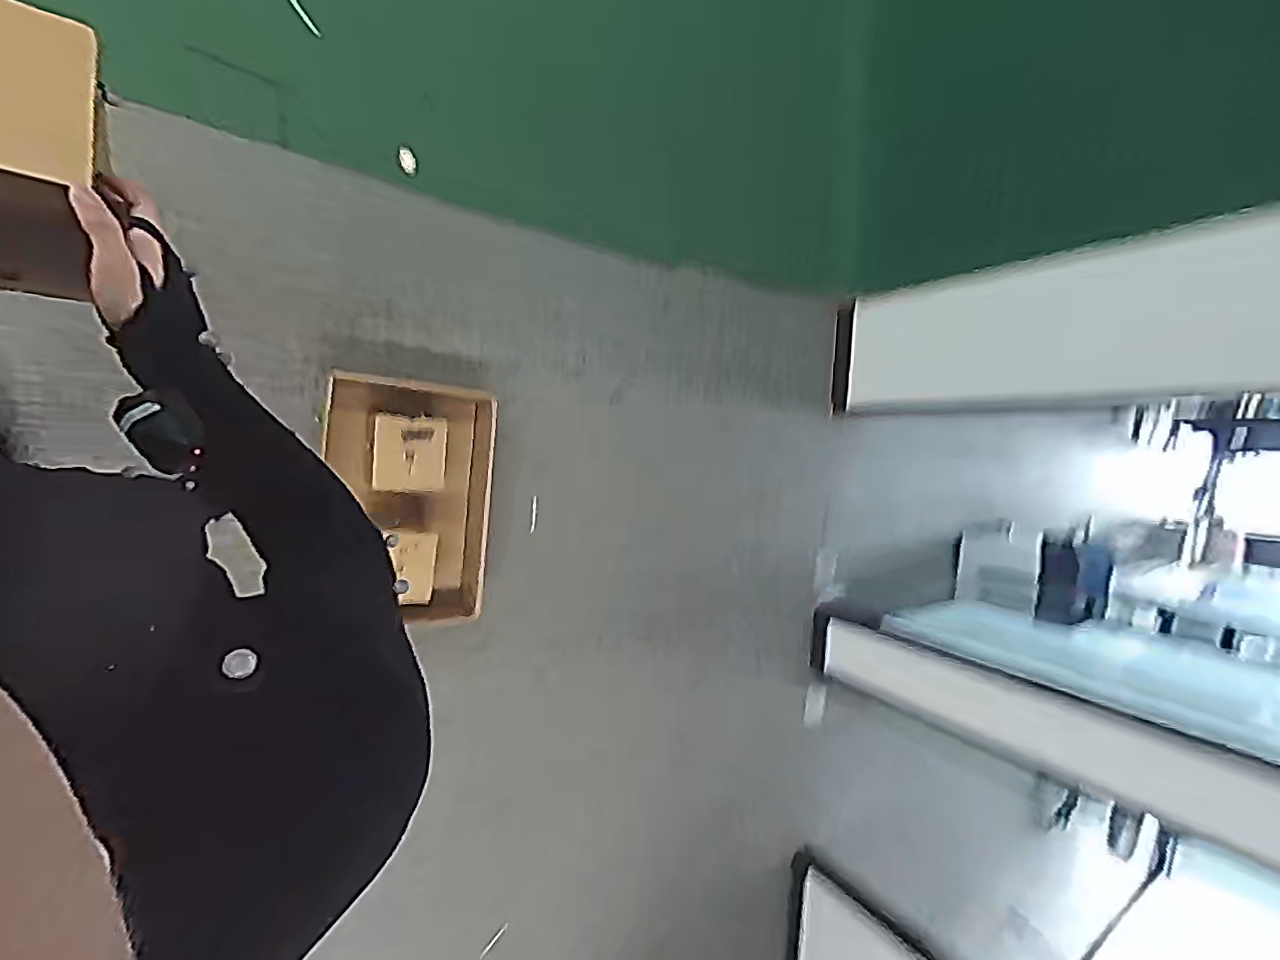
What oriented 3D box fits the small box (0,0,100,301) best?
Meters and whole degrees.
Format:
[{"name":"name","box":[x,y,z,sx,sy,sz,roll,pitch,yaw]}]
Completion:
[{"name":"small box","box":[-0.567,-0.276,0.443,0.168,0.176,0.179,-1,71,-41]}]

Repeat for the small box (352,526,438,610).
[{"name":"small box","box":[-0.631,0.223,1.381,0.168,0.176,0.179,9,89,-33]}]
